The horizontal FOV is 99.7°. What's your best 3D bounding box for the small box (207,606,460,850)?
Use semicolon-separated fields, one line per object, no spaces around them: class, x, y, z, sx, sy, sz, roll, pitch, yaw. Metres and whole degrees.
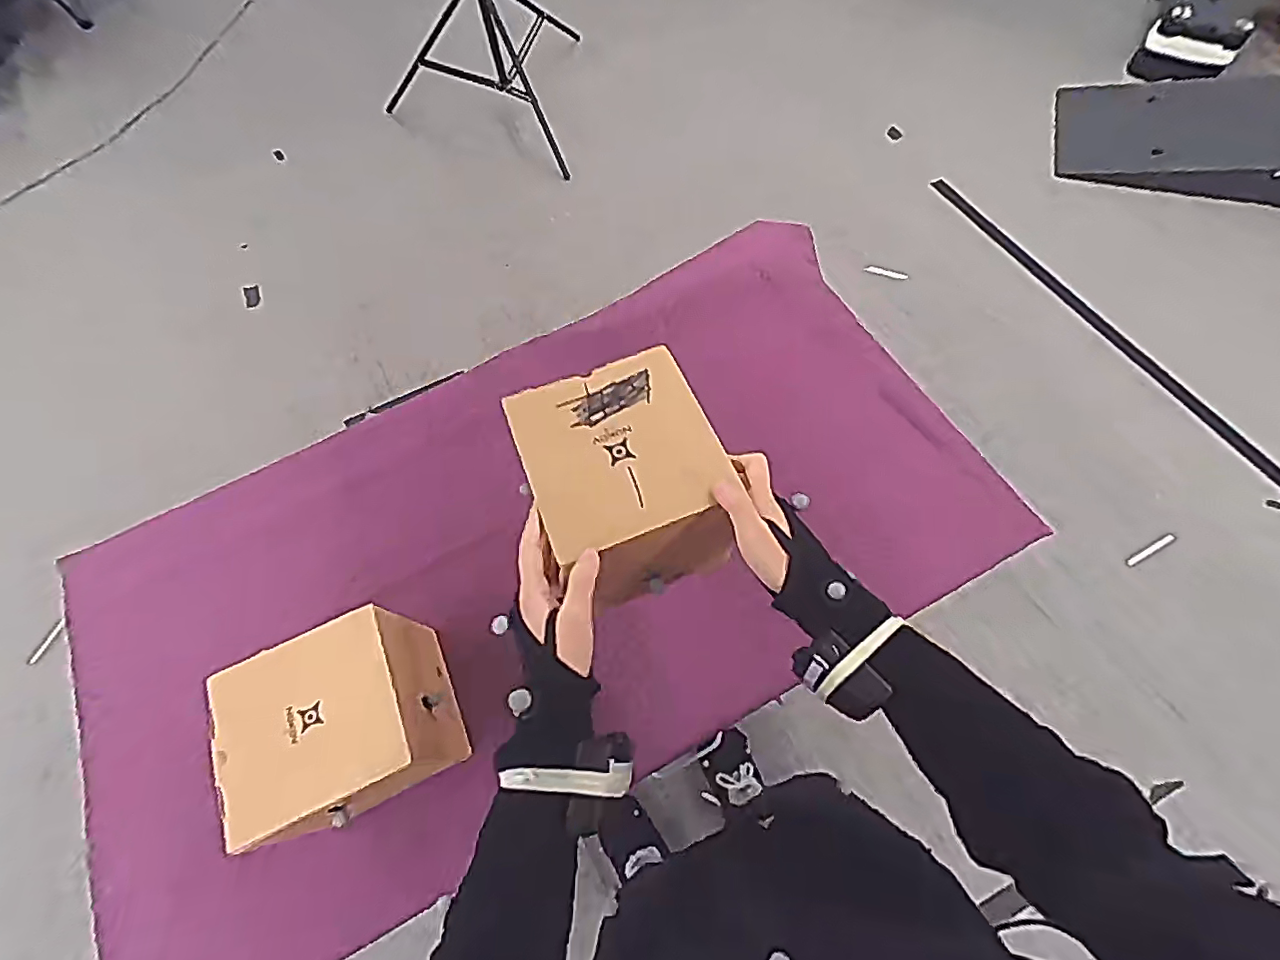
small box;-0.318;0.261;0.596;0.179;0.176;0.168;-25;67;-6

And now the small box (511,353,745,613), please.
small box;-0.013;0.010;0.548;0.168;0.176;0.179;-21;63;-7
